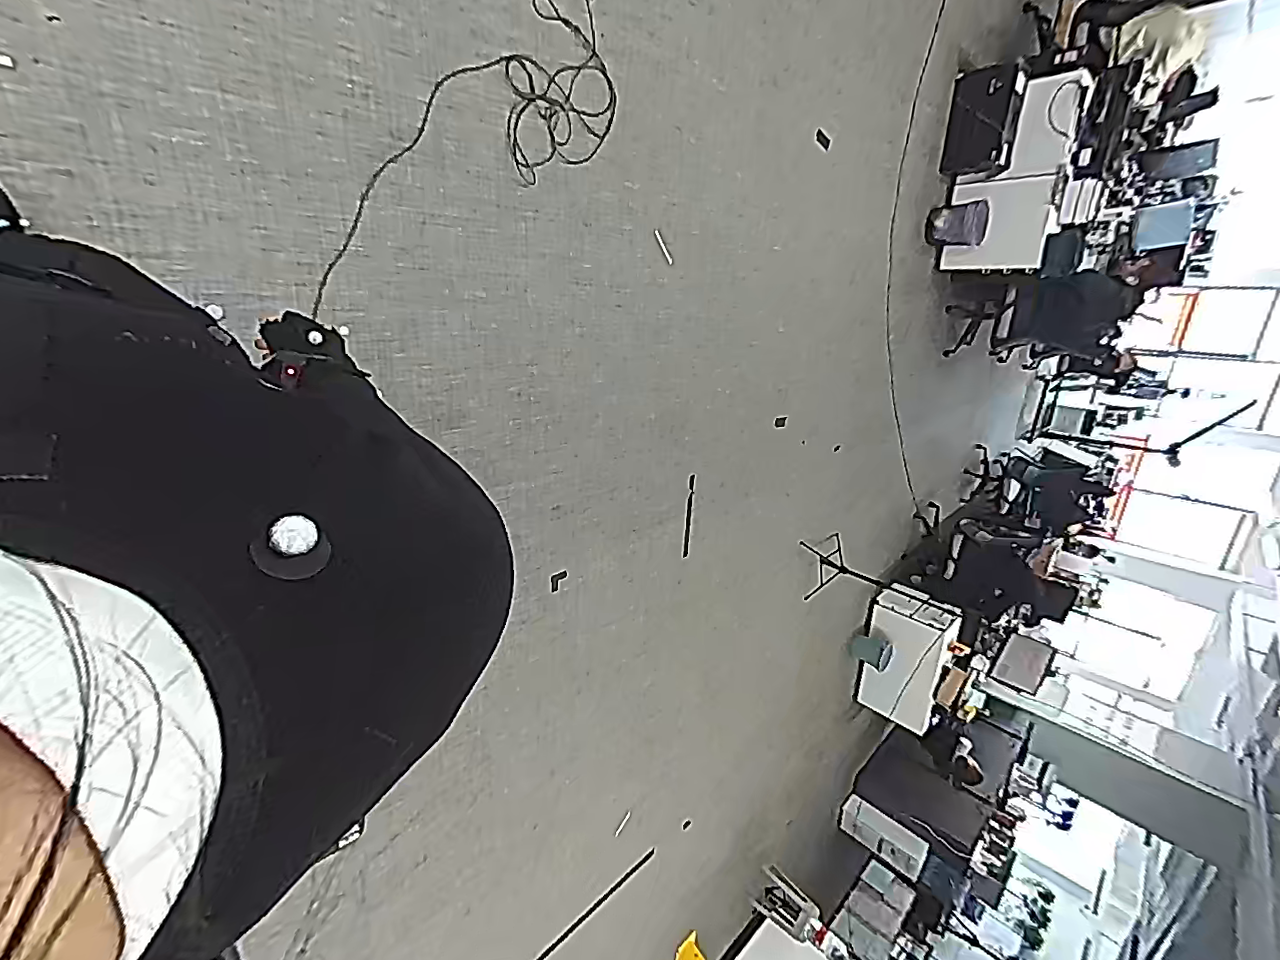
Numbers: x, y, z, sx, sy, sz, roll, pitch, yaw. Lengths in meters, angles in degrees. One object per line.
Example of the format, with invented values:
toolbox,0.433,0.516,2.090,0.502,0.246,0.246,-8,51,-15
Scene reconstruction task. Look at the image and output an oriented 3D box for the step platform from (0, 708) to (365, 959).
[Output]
step platform,-1.034,0.850,1.281,0.684,0.204,0.286,-17,116,-40
